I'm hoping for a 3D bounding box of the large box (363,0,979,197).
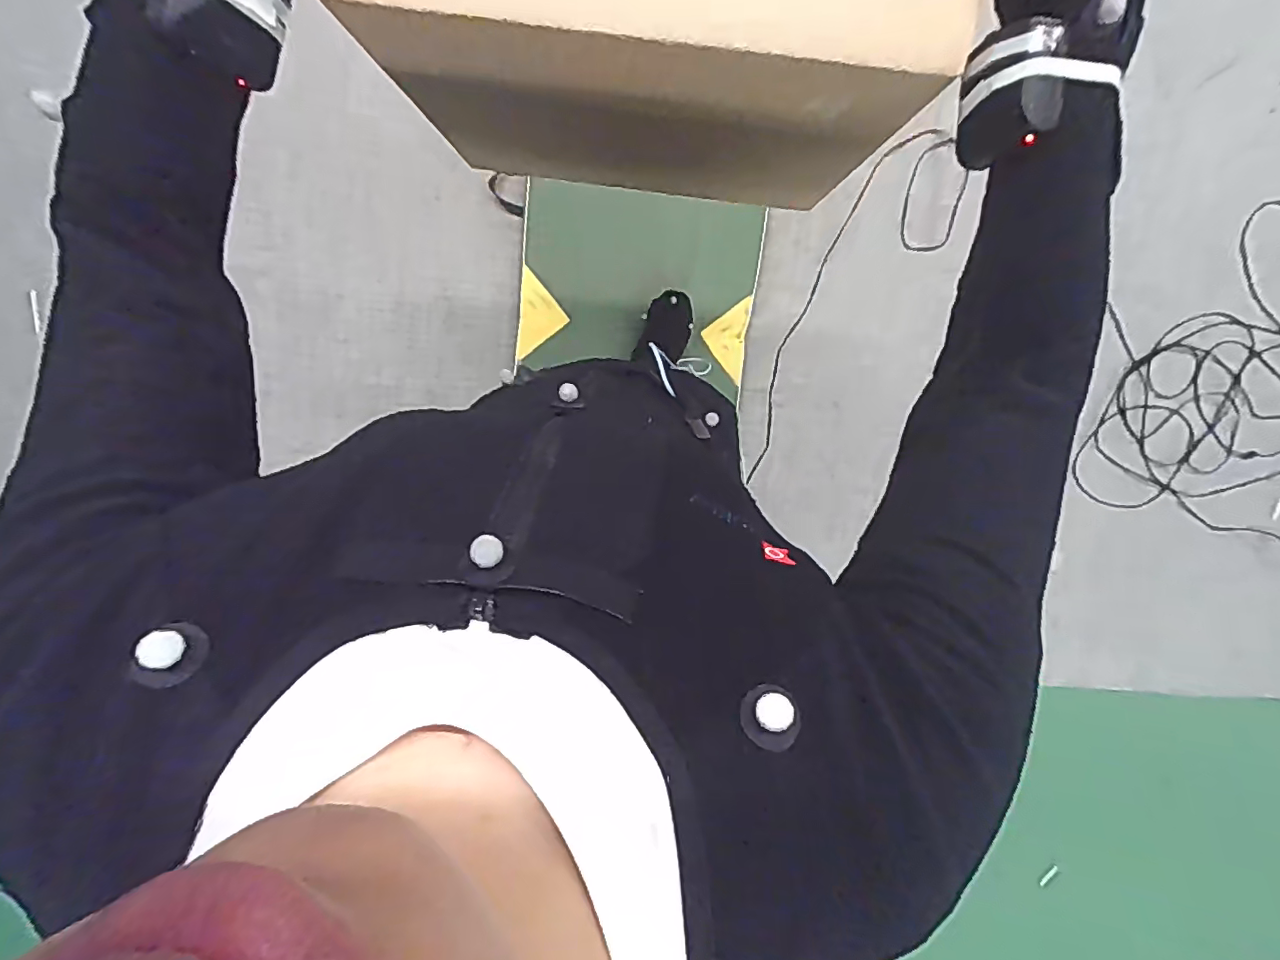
[{"bbox_3d":[0.025,-0.465,0.457,0.408,0.320,0.320,6,103,-2],"label":"large box"}]
